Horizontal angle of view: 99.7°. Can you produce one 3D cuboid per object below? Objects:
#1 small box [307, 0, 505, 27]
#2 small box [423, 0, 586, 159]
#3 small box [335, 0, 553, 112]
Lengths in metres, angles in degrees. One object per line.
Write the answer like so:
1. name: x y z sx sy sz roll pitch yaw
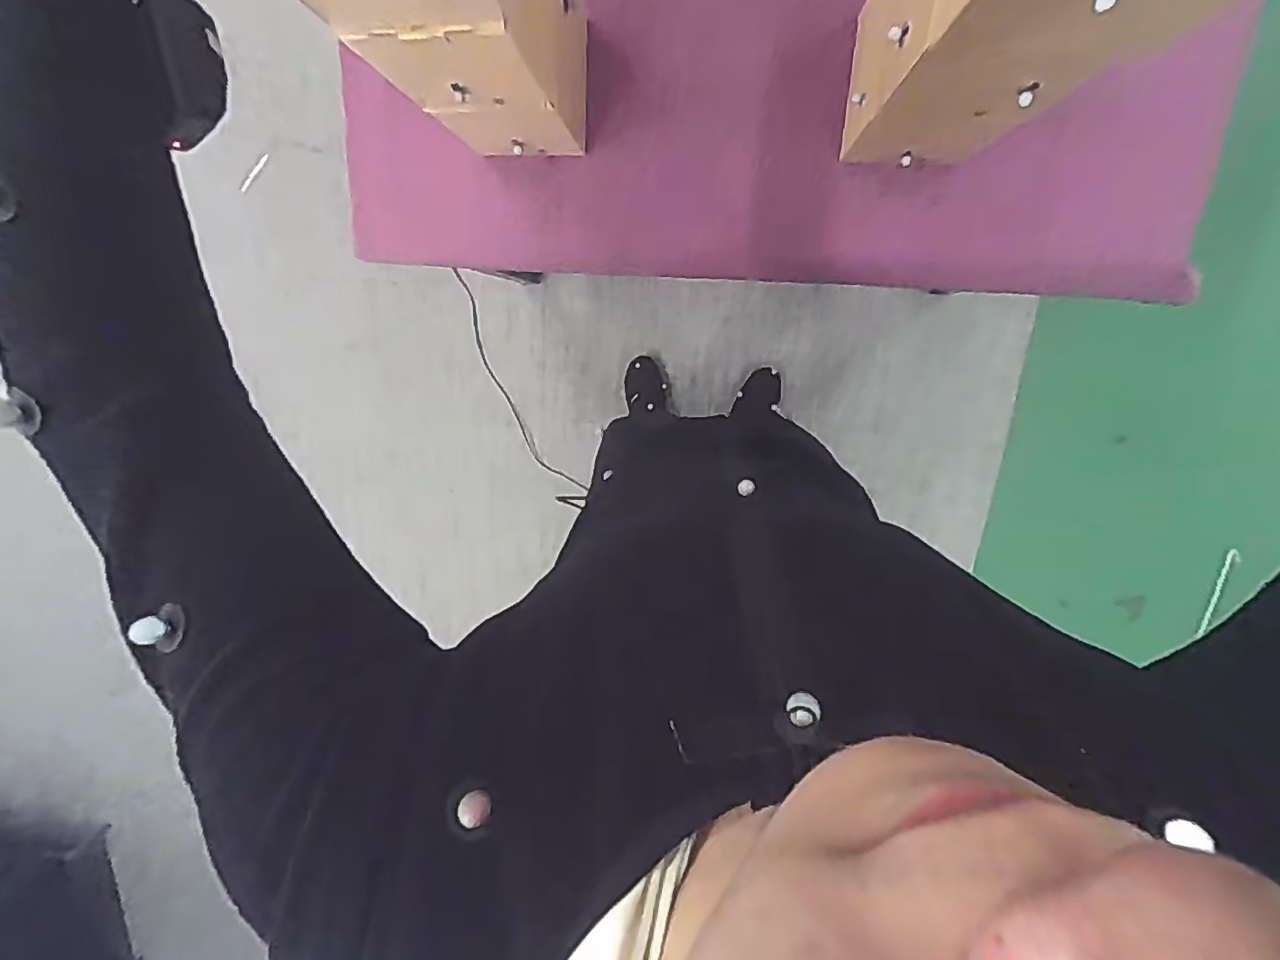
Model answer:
1. small box: -0.210 -0.472 0.396 0.179 0.176 0.168 2 105 8
2. small box: -0.170 -0.548 0.710 0.168 0.176 0.179 5 105 7
3. small box: -0.190 -0.510 0.554 0.168 0.176 0.179 3 105 6
